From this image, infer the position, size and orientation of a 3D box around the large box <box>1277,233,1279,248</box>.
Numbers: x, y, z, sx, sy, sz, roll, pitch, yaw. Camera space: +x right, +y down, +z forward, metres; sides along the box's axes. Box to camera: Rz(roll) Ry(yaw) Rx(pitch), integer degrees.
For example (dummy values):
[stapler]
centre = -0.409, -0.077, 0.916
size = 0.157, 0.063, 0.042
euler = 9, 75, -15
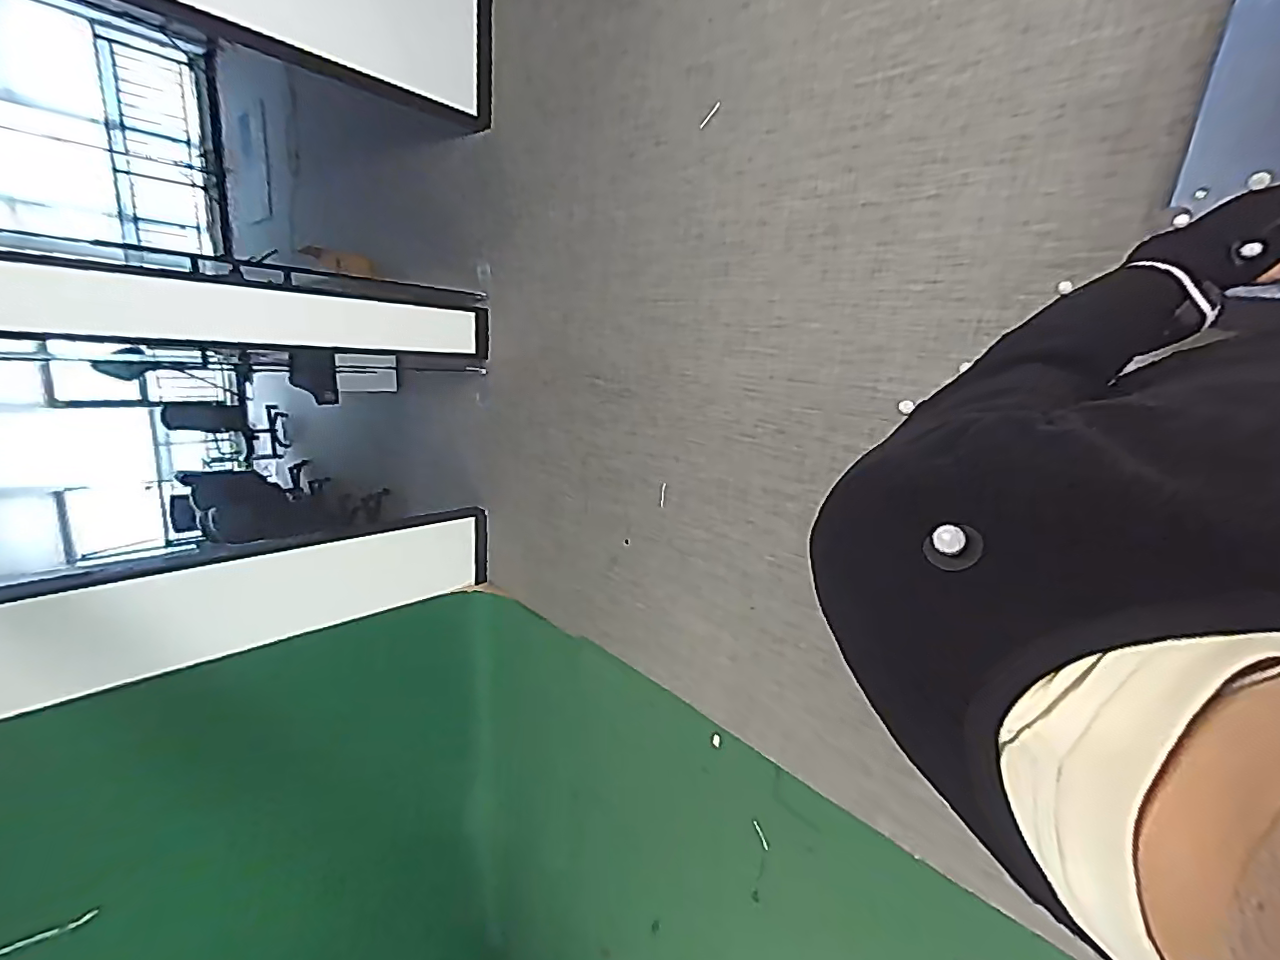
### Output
[large box]
centre = 1.135, -0.545, 0.700
size = 0.320, 0.320, 0.408
euler = 19, 109, 41
